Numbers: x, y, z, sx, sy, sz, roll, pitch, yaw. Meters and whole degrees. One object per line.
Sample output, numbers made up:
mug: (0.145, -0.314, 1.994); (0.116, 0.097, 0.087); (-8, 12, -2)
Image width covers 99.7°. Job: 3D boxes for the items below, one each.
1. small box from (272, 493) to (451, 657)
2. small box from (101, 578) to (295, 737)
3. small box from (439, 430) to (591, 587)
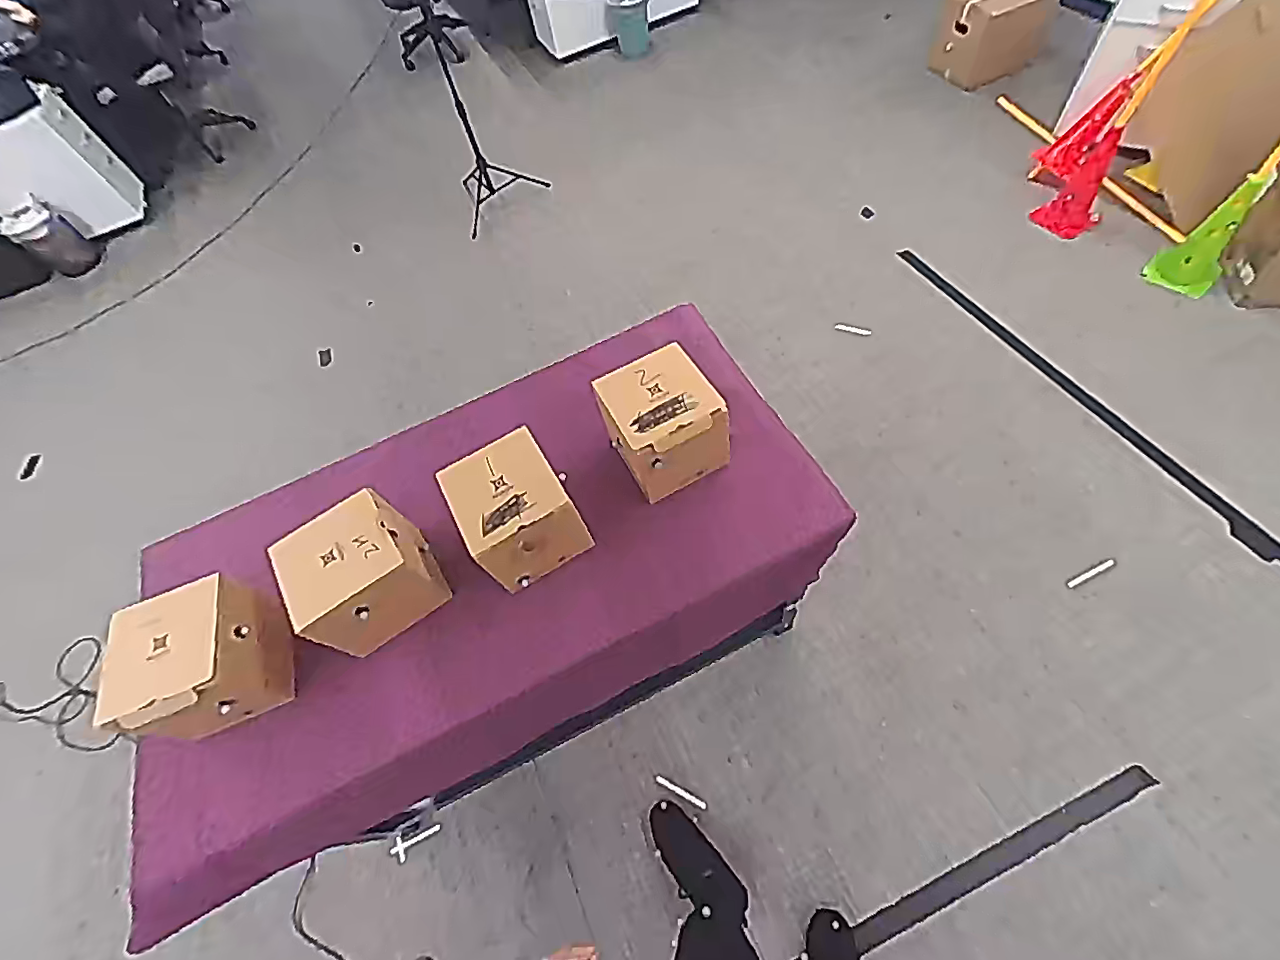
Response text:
small box: (-0.443, 0.160, 0.879); (0.179, 0.176, 0.168); (-34, 61, -11)
small box: (-0.670, 0.285, 0.844); (0.168, 0.176, 0.179); (-22, 58, -5)
small box: (-0.199, 0.058, 0.900); (0.168, 0.176, 0.179); (-30, 59, -9)
